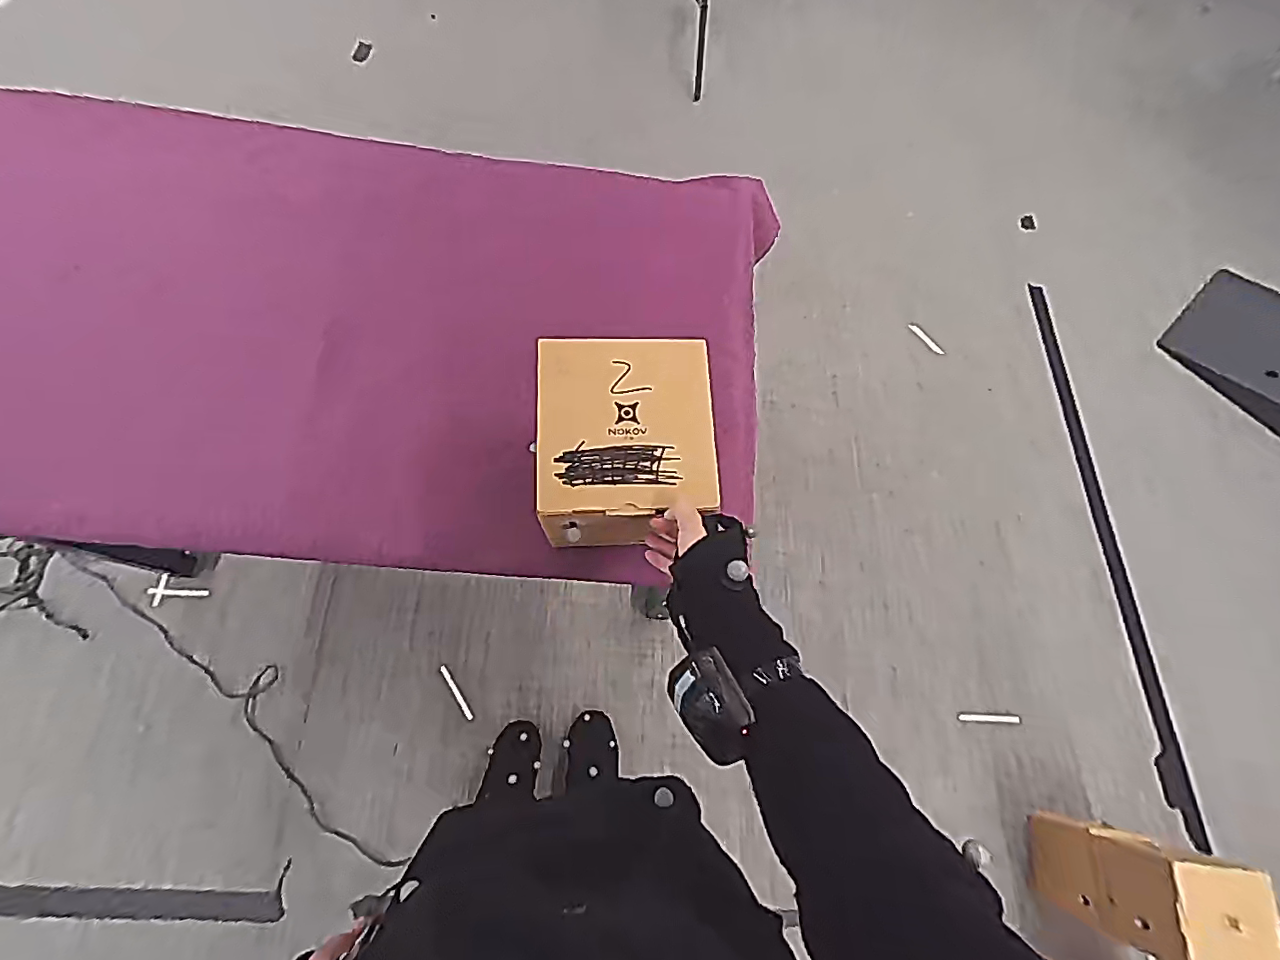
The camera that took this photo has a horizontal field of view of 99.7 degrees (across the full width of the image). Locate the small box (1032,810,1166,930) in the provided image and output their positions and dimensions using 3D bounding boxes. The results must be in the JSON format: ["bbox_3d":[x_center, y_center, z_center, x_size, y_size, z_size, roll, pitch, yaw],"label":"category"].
[{"bbox_3d":[0.964,0.814,1.134,0.168,0.176,0.179,9,70,-2],"label":"small box"}]

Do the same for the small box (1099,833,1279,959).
[{"bbox_3d":[0.984,0.762,0.981,0.179,0.176,0.168,8,71,-3],"label":"small box"}]
